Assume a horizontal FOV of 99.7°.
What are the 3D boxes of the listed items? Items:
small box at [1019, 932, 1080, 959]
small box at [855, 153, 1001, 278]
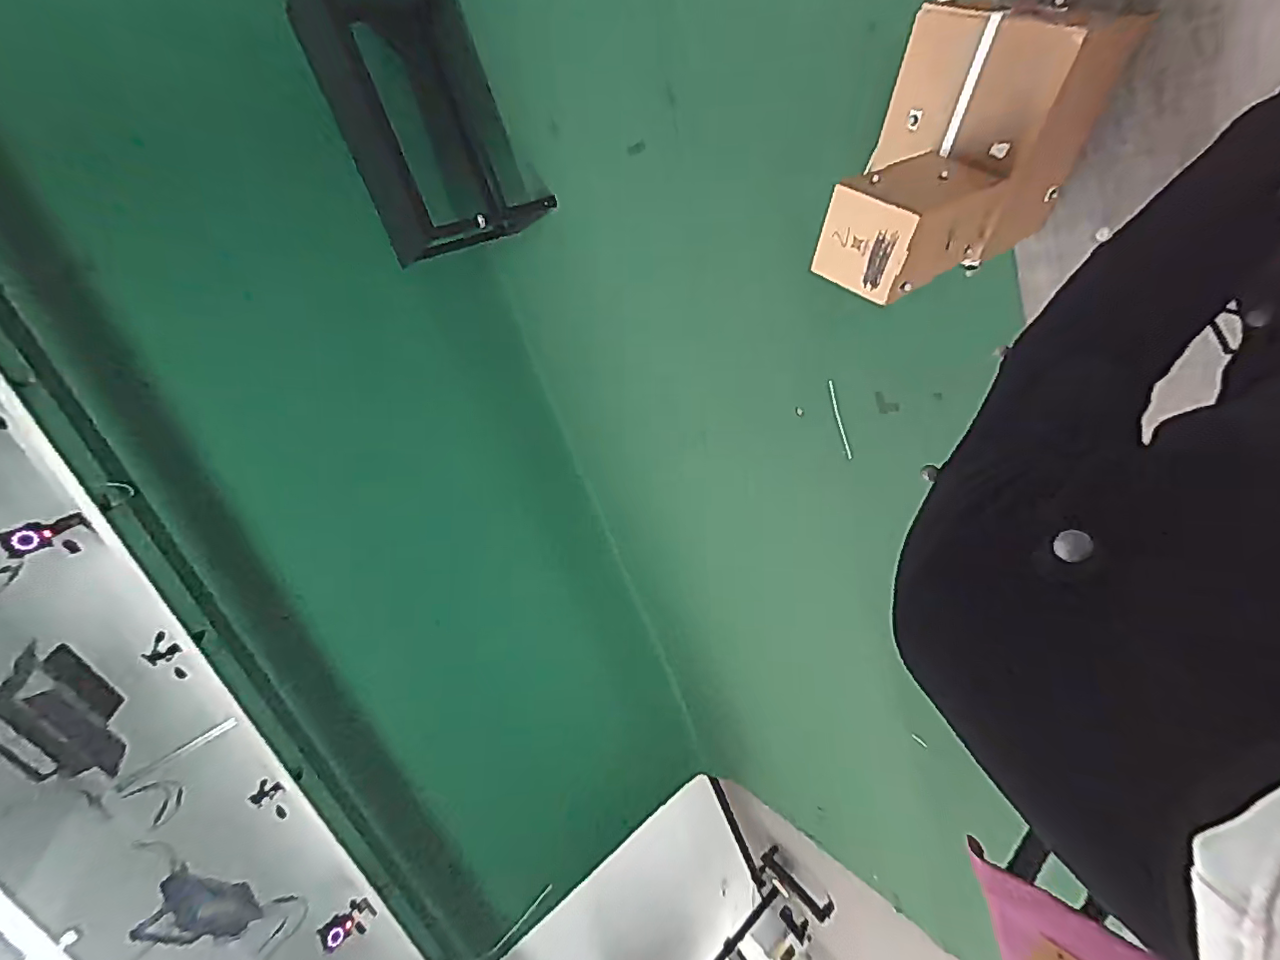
[{"bbox_3d":[0.990,1.228,1.260,0.168,0.176,0.179,7,125,56],"label":"small box"},{"bbox_3d":[0.586,-0.545,1.105,0.179,0.176,0.168,44,148,28],"label":"small box"}]
